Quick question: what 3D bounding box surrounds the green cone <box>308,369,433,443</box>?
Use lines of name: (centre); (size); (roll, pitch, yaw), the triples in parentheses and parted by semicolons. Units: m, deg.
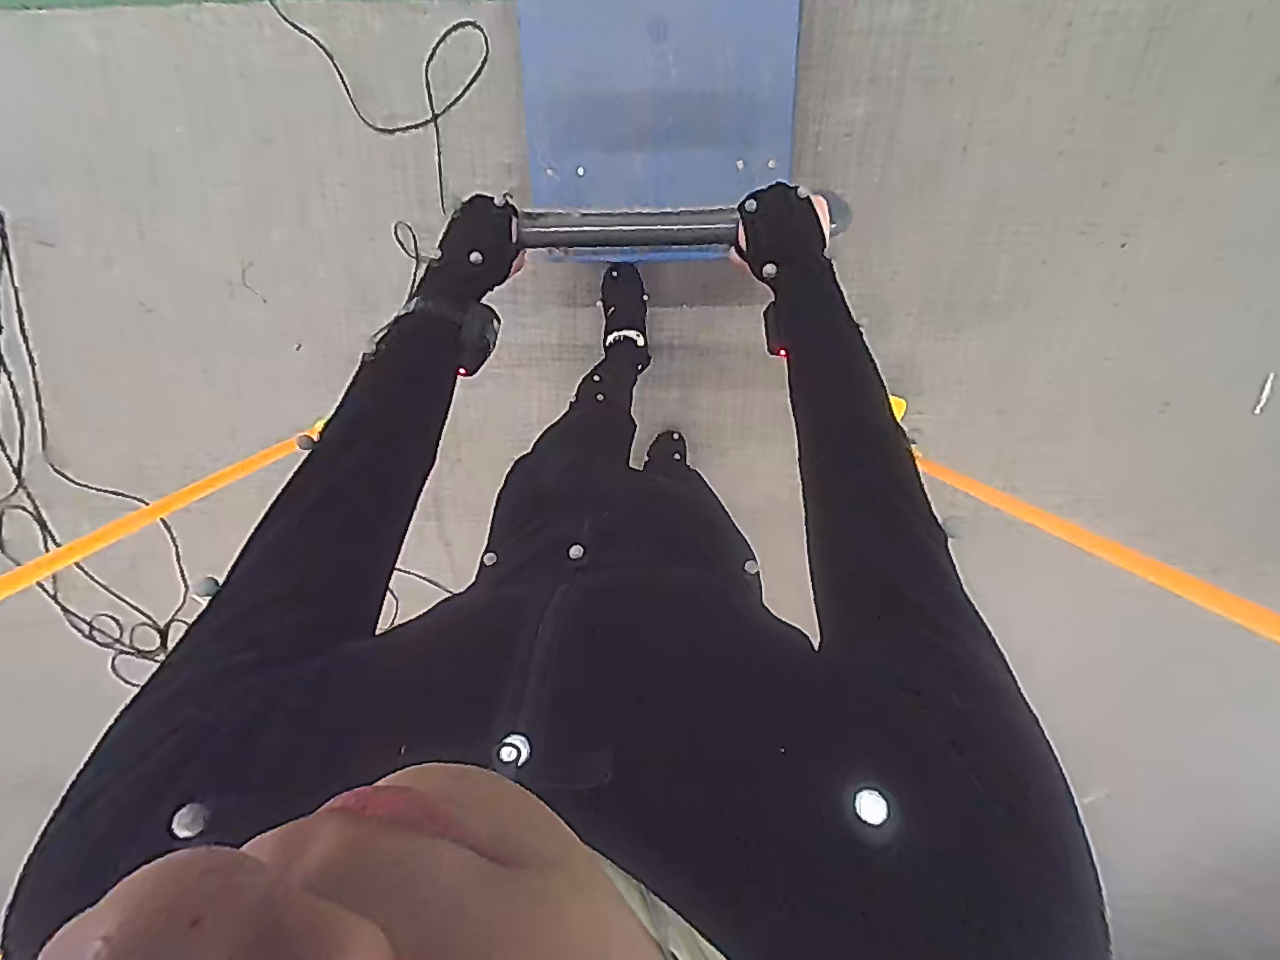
green cone: (-0.724, -0.166, 1.409); (0.202, 0.368, 0.200); (-1, 108, 6)
